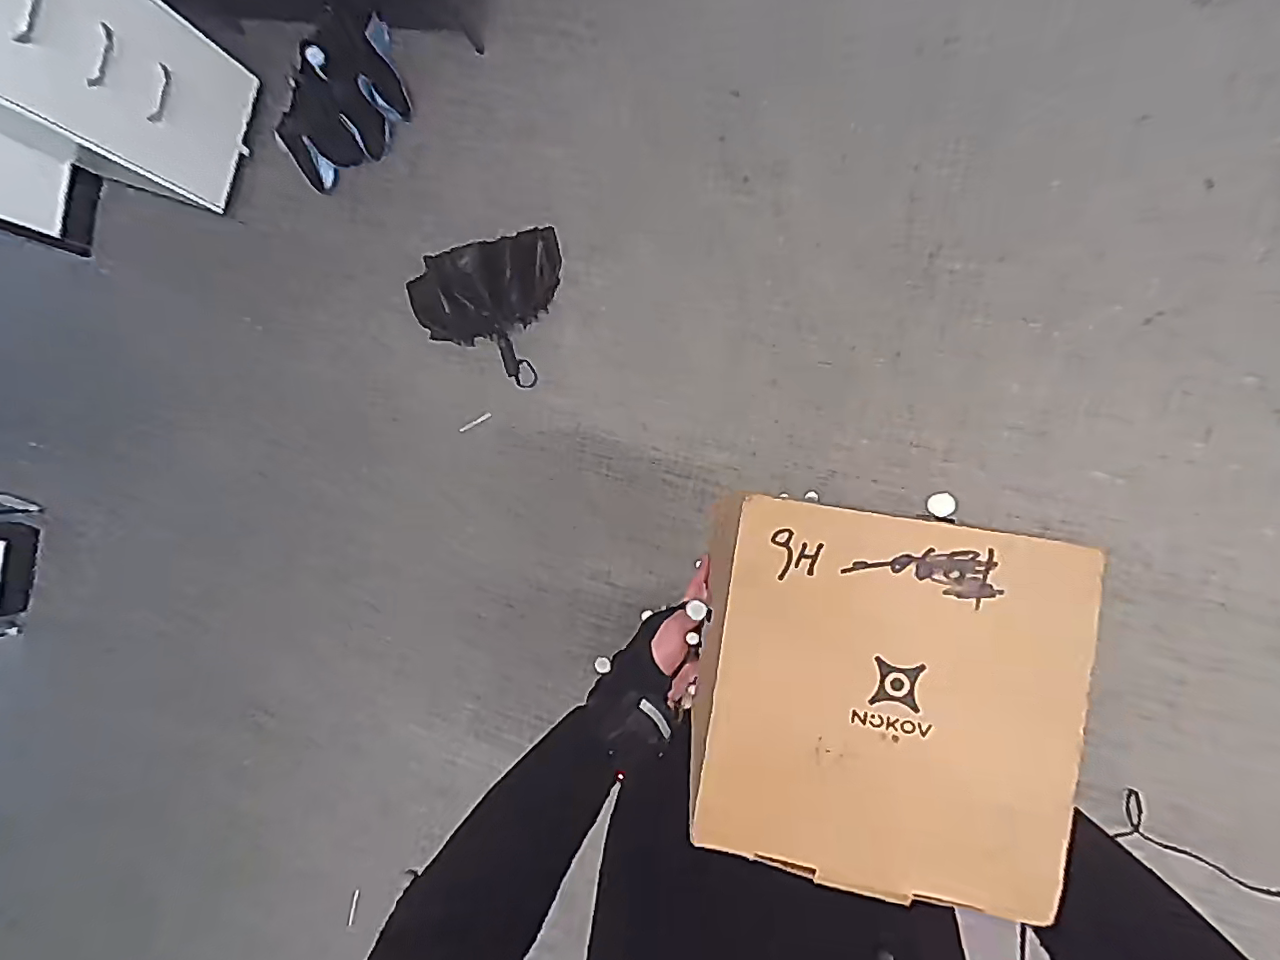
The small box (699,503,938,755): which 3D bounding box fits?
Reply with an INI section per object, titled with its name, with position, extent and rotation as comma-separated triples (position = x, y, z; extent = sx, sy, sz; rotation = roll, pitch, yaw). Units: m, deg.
[small box]
position = 0.147, 0.116, 0.497
extent = 0.168, 0.176, 0.179
rotation = 6, 88, 7
